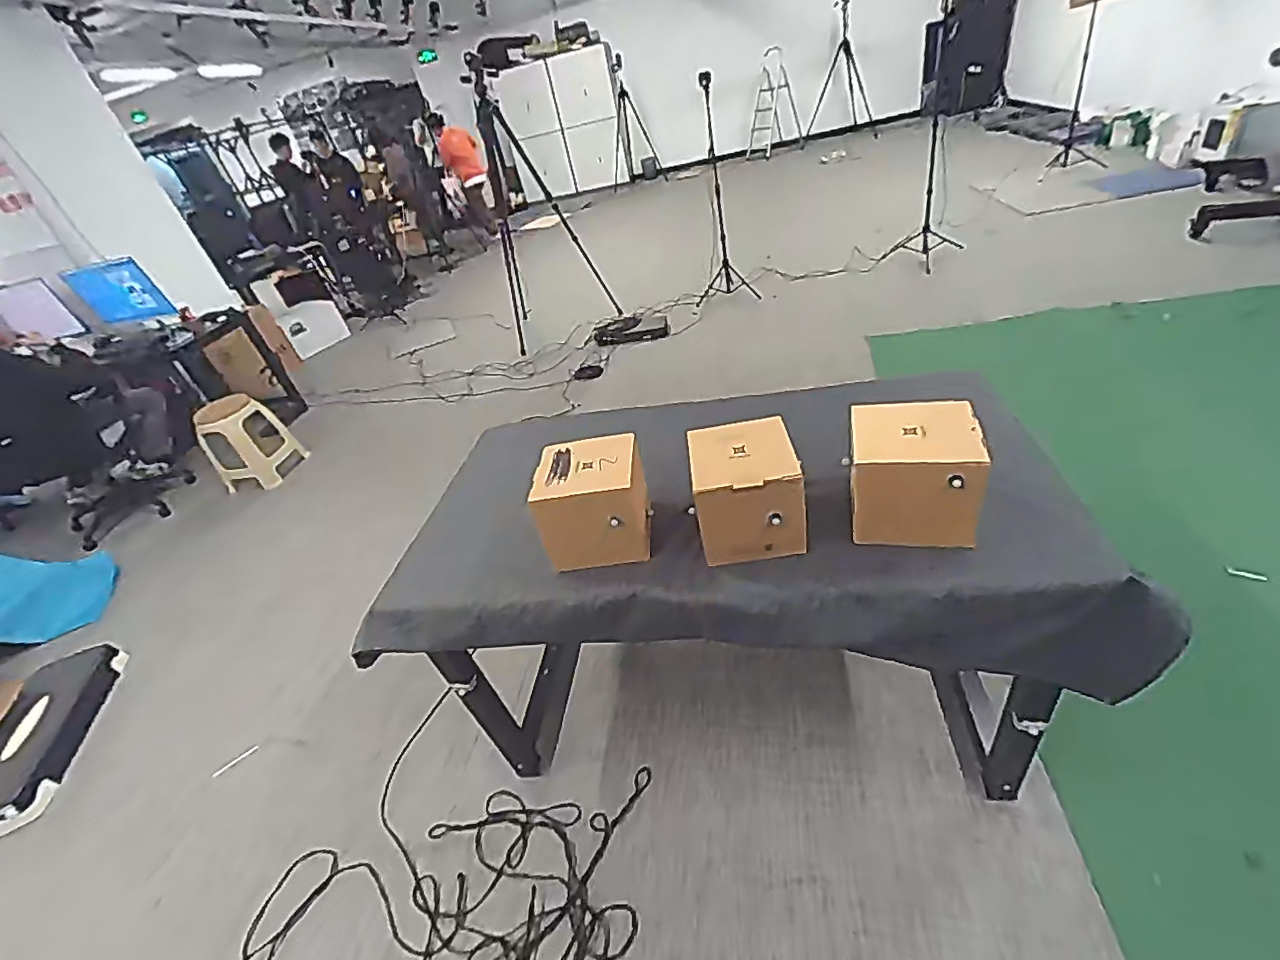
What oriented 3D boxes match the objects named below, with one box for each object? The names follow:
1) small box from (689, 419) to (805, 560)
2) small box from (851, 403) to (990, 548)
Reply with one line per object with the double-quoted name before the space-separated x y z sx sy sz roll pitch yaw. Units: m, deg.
"small box" 0.180 0.022 0.918 0.168 0.176 0.179 -8 35 7
"small box" 0.433 -0.006 0.864 0.179 0.176 0.168 0 38 19
